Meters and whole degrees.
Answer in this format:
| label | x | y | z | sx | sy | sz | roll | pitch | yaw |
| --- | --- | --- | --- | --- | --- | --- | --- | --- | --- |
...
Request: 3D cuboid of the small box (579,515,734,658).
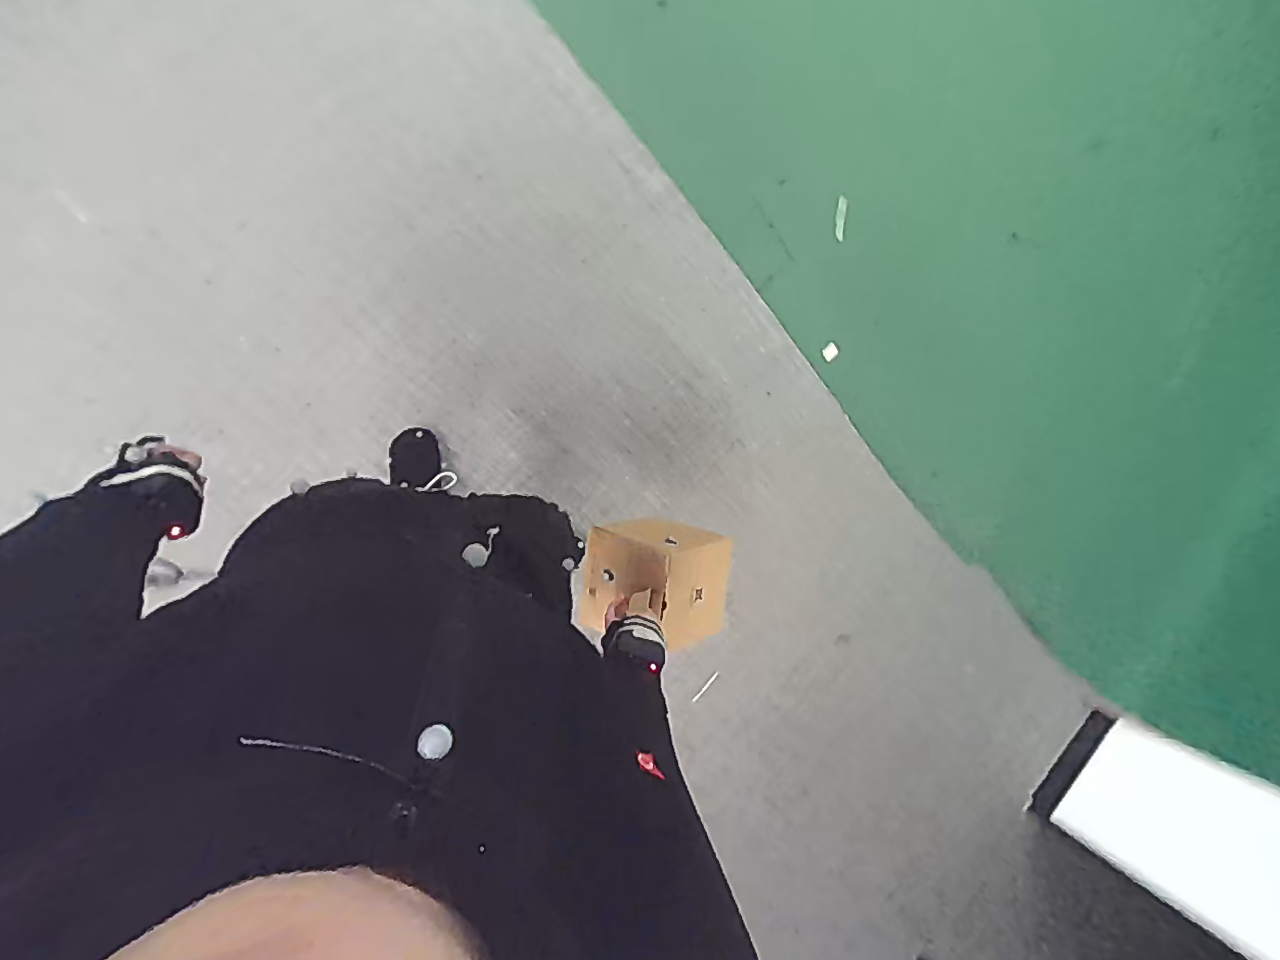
| label | x | y | z | sx | sy | sz | roll | pitch | yaw |
| --- | --- | --- | --- | --- | --- | --- | --- | --- | --- |
| small box | 0.027 | 0.158 | 0.878 | 0.179 | 0.176 | 0.168 | -4 | 104 | -50 |
